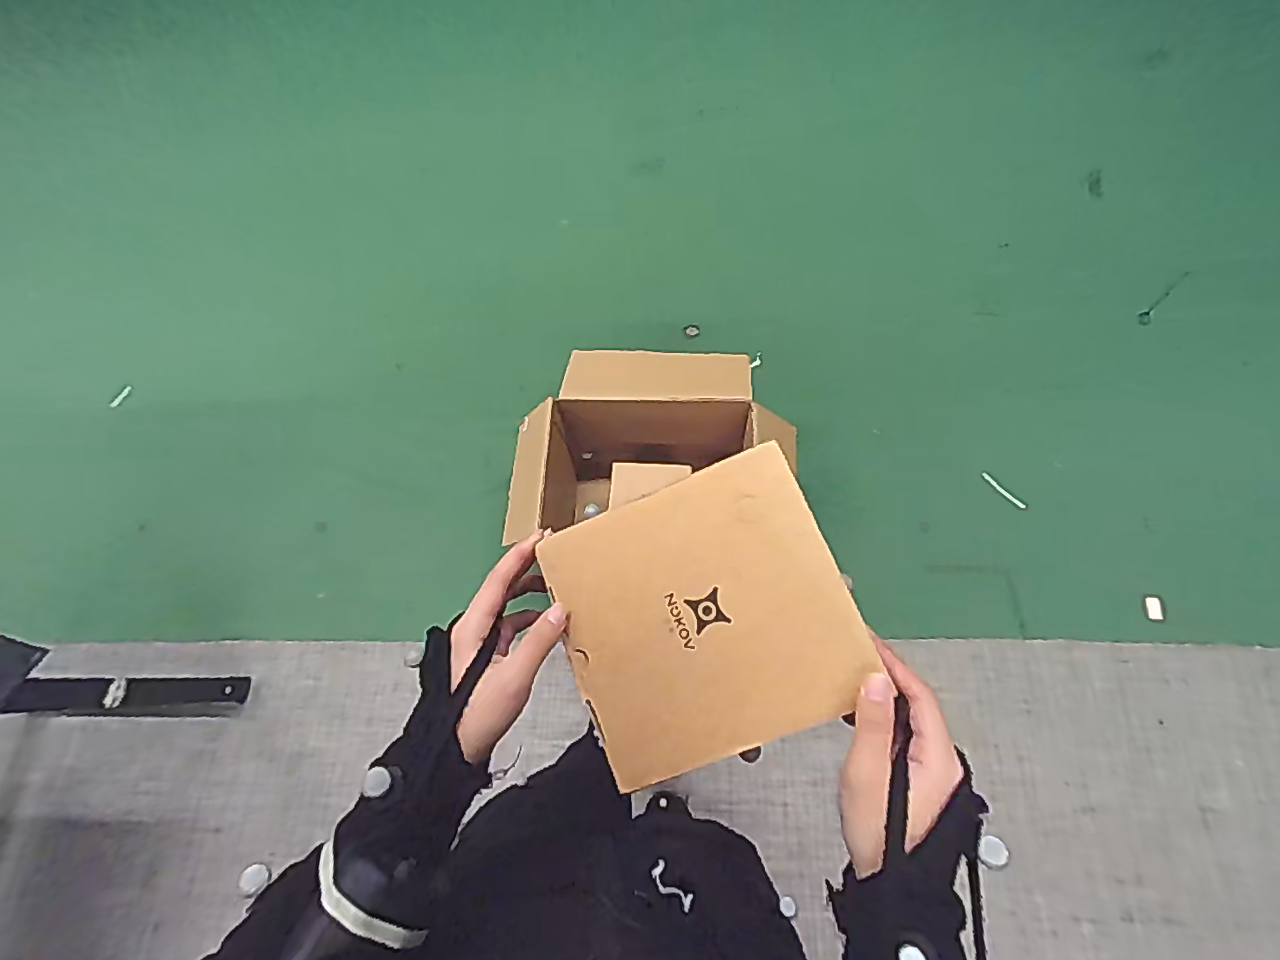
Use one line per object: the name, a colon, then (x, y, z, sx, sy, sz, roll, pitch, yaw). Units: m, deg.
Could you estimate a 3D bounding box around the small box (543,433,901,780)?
small box: (0.057, 0.085, 0.409, 0.179, 0.176, 0.168, -24, 78, 7)
